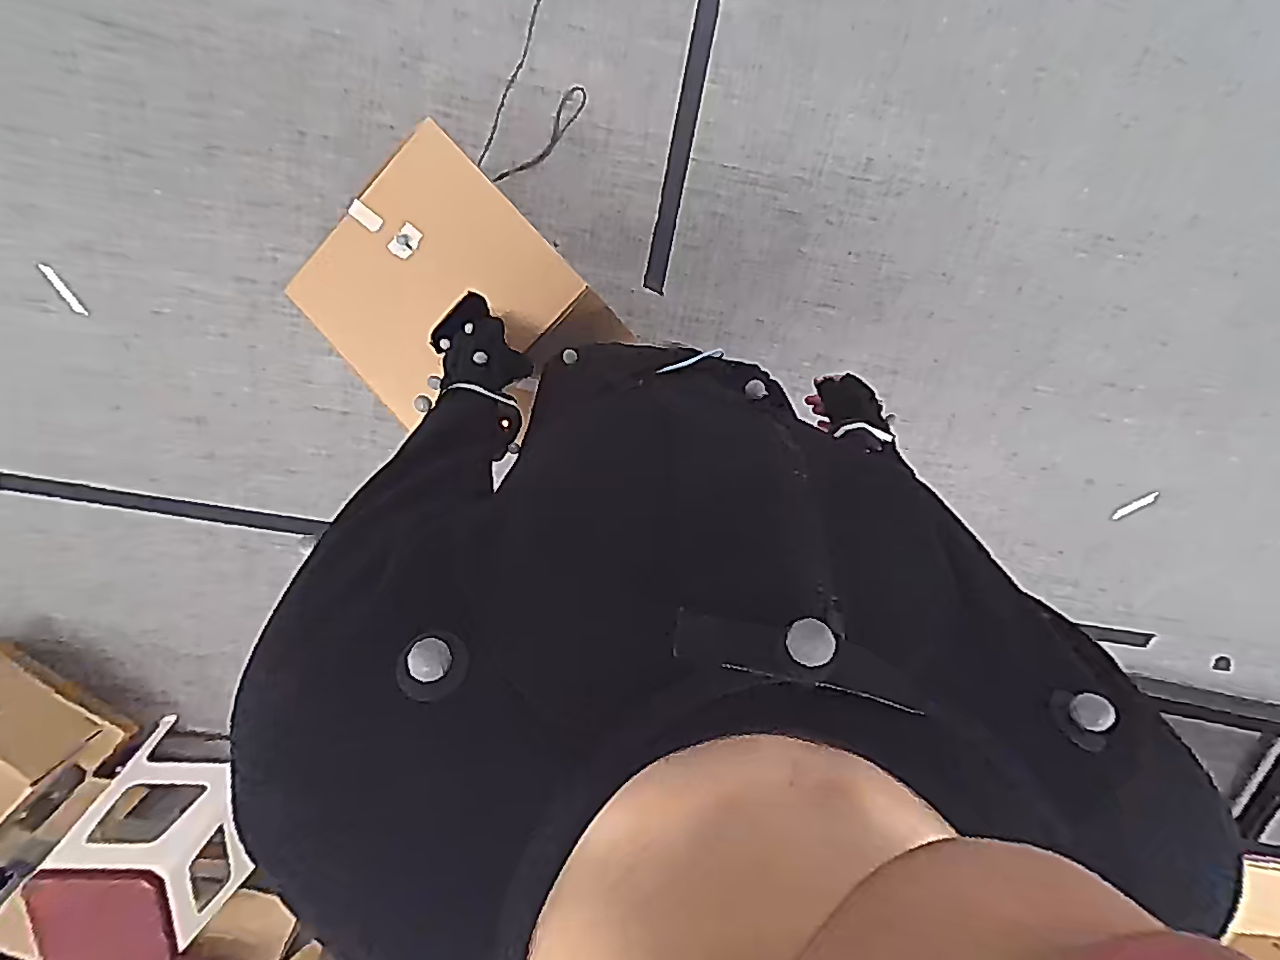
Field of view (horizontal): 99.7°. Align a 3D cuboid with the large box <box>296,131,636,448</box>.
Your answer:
[{"bbox_3d":[-0.252,-0.273,0.918,0.320,0.408,0.320,-42,87,10],"label":"large box"}]
